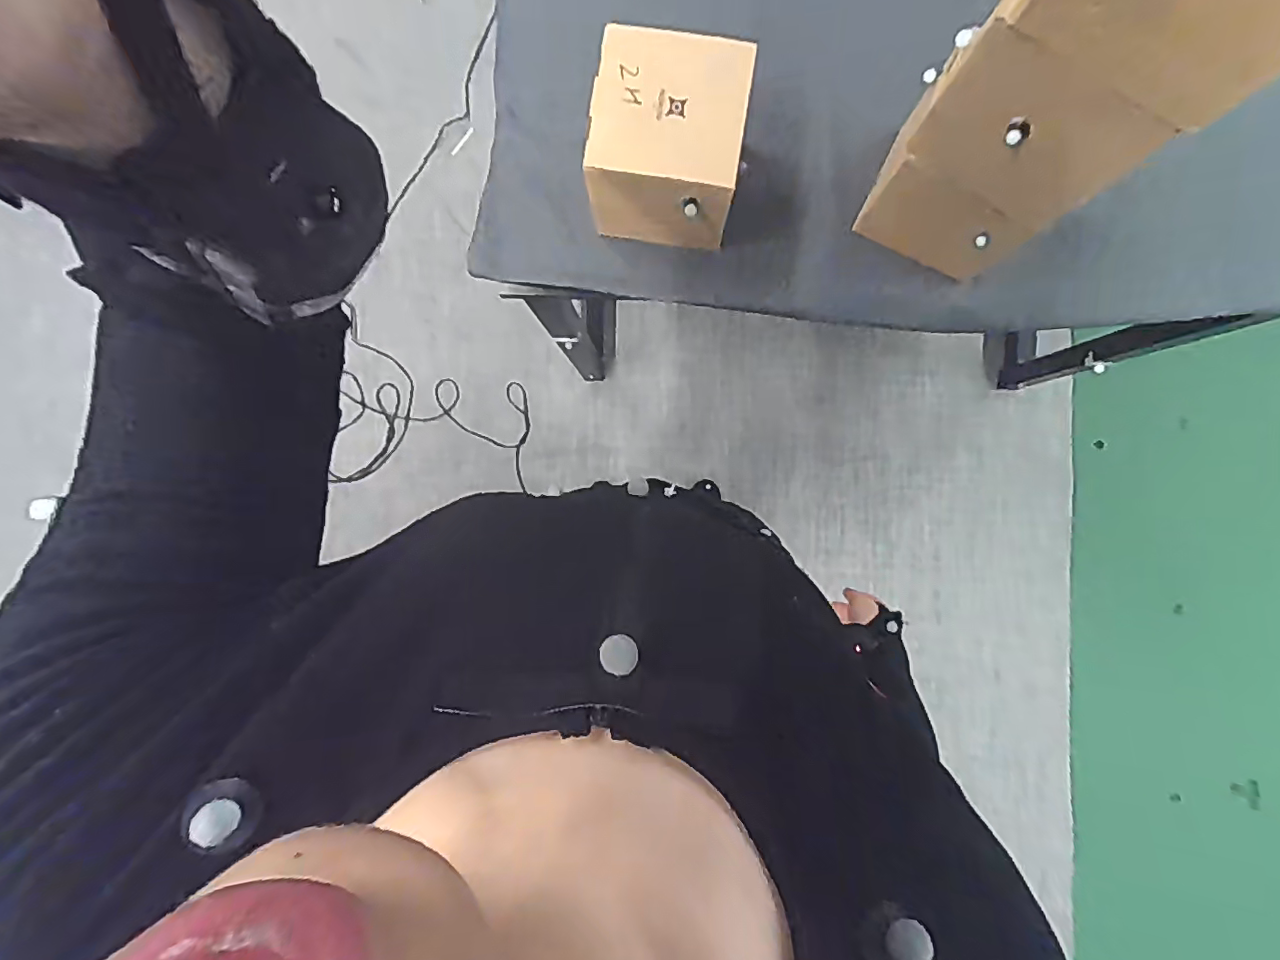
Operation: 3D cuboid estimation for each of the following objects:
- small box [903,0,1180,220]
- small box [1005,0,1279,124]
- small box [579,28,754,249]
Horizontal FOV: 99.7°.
[{"bbox_3d":[0.394,-0.381,0.508,0.179,0.176,0.168,34,90,3],"label":"small box"},{"bbox_3d":[0.392,-0.381,0.346,0.179,0.176,0.168,34,90,2],"label":"small box"},{"bbox_3d":[0.032,-0.414,0.686,0.179,0.176,0.168,9,90,2],"label":"small box"}]
